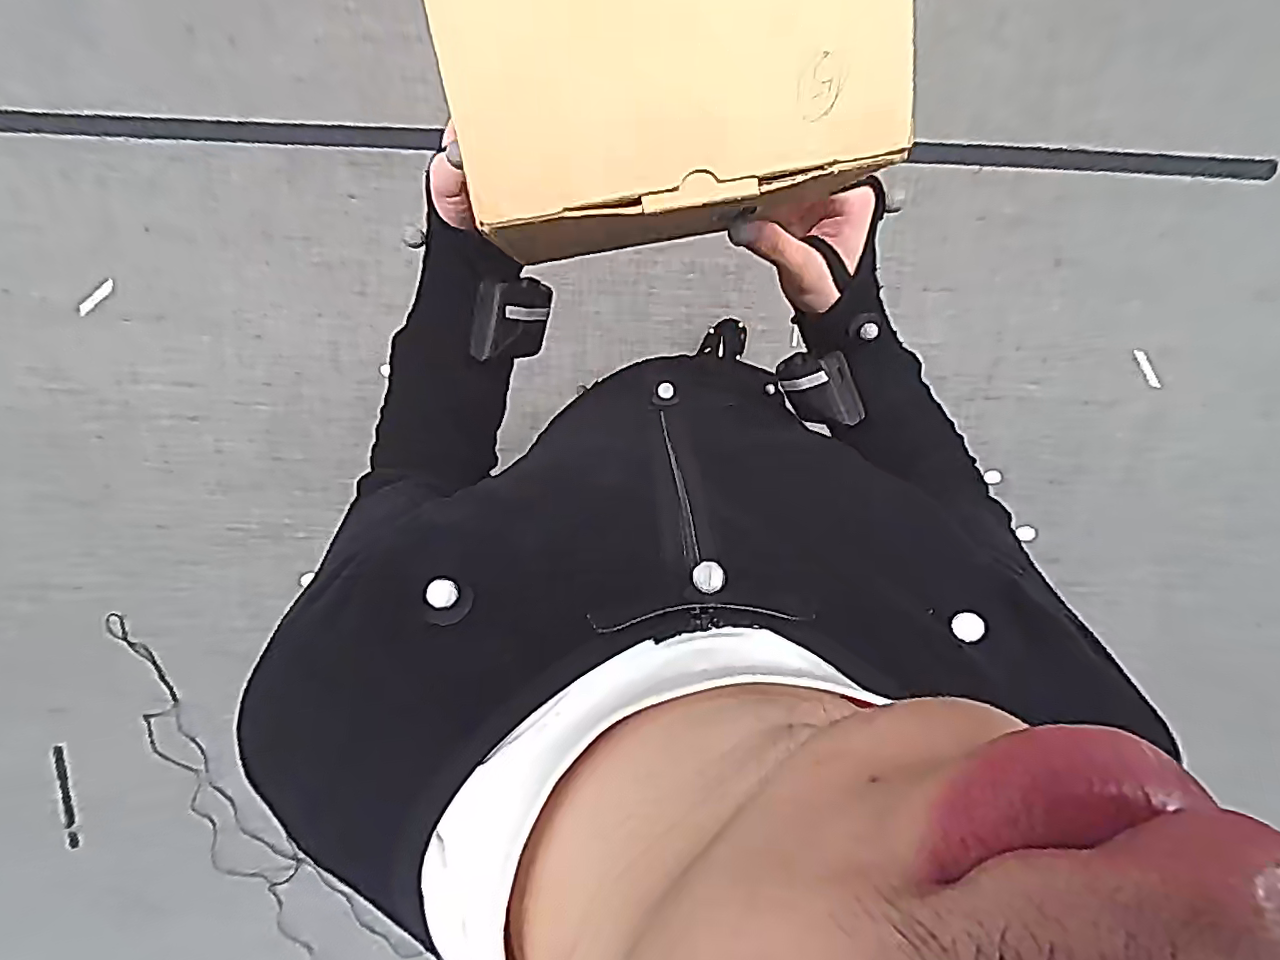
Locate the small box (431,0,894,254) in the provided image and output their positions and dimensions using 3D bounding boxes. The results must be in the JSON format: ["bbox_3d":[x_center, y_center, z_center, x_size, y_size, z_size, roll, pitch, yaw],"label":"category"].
[{"bbox_3d":[-0.002,-0.214,0.259,0.168,0.176,0.179,-12,108,-3],"label":"small box"}]
